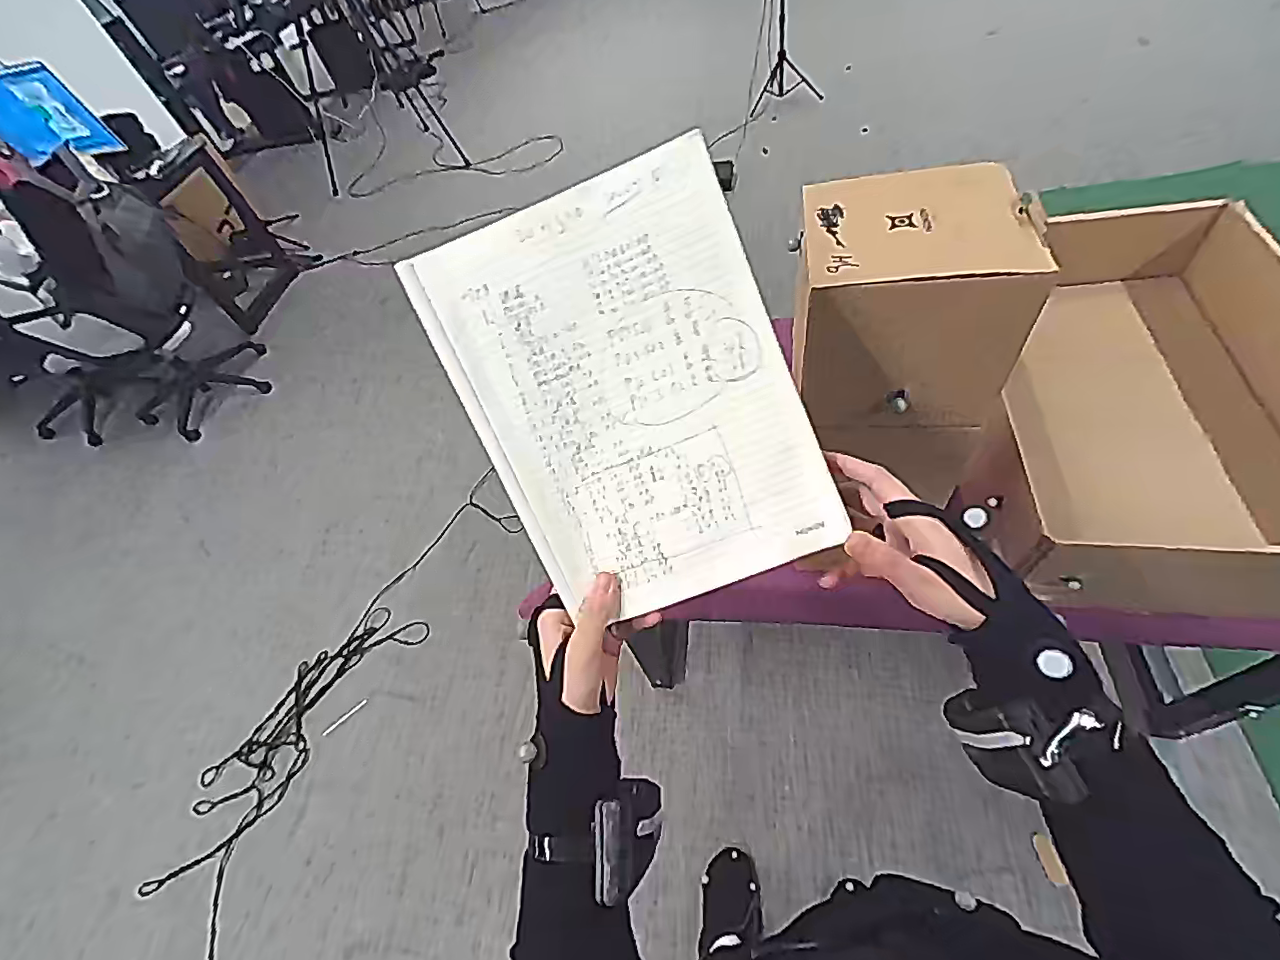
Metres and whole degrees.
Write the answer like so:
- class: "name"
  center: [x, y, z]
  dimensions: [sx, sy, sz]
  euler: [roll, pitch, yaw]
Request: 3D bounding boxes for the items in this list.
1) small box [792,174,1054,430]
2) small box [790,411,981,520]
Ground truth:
- class: "small box"
  center: [0.242, -0.161, 0.518]
  dimensions: [0.179, 0.176, 0.168]
  euler: [1, 53, 13]
- class: "small box"
  center: [0.273, -0.063, 0.648]
  dimensions: [0.179, 0.176, 0.168]
  euler: [1, 53, 15]
